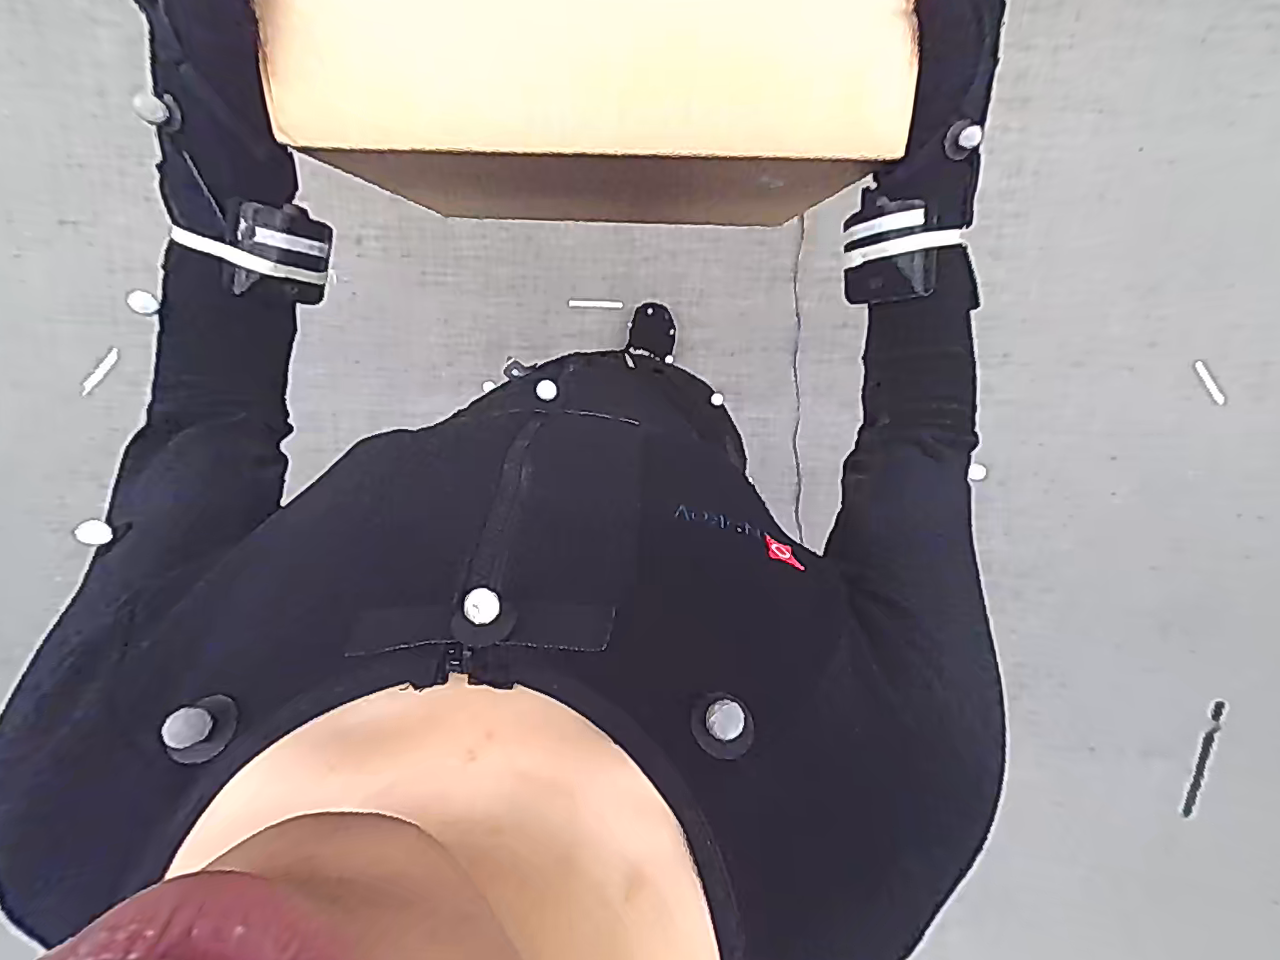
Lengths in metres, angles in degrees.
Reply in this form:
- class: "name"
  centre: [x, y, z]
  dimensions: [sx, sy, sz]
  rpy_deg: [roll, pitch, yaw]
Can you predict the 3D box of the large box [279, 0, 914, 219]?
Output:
- class: "large box"
  centre: [-0.028, -0.416, 0.456]
  dimensions: [0.408, 0.320, 0.320]
  rpy_deg: [1, 108, -1]
